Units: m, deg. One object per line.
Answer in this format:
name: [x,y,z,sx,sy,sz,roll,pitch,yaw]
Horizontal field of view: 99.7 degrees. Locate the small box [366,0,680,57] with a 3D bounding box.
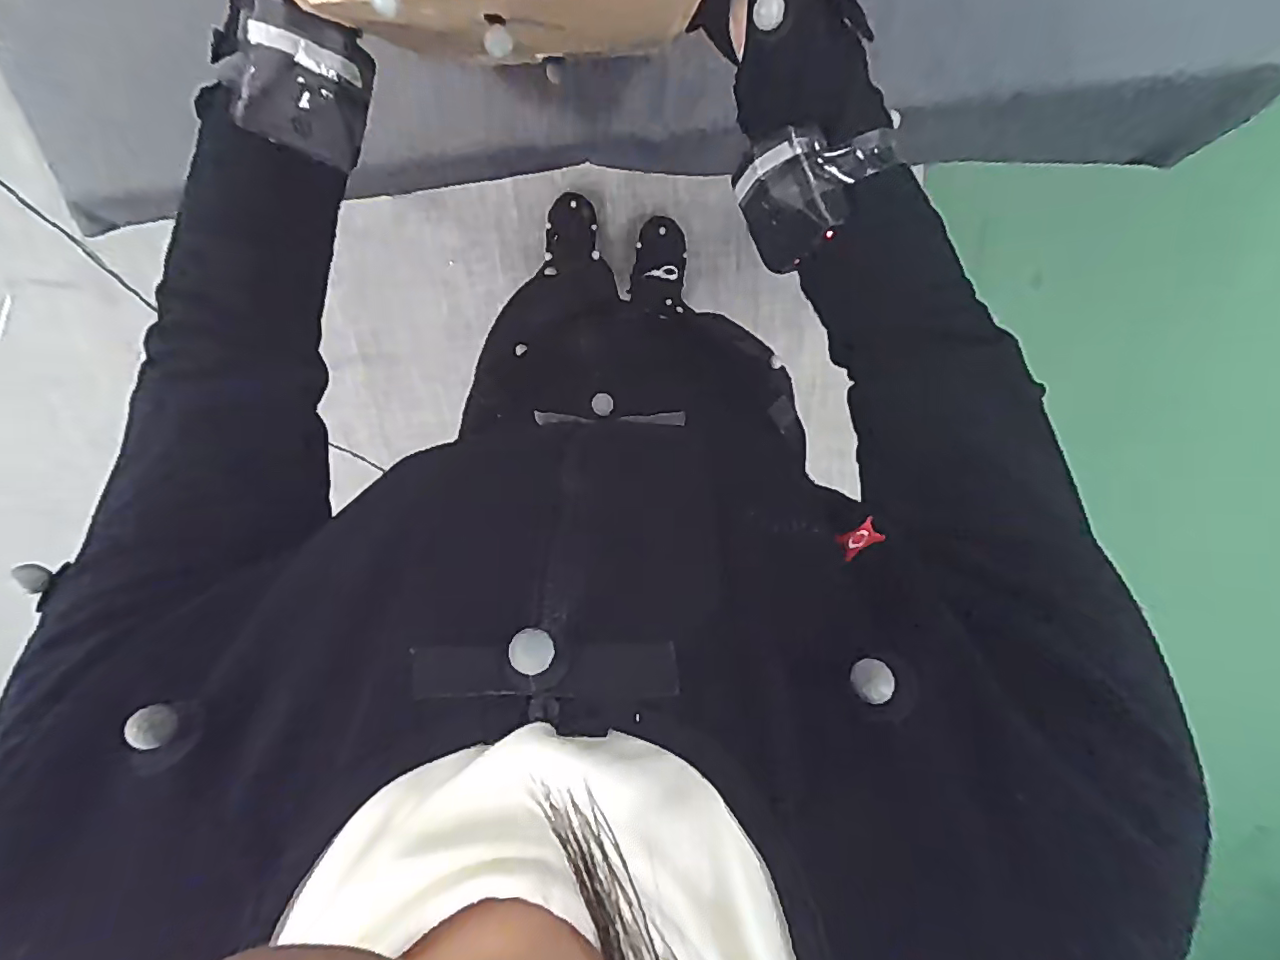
small box: [-0.066,-0.322,0.253,0.179,0.176,0.168,-5,118,1]

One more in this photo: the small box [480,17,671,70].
small box: [-0.067,-0.417,0.385,0.168,0.176,0.179,-4,122,3]
